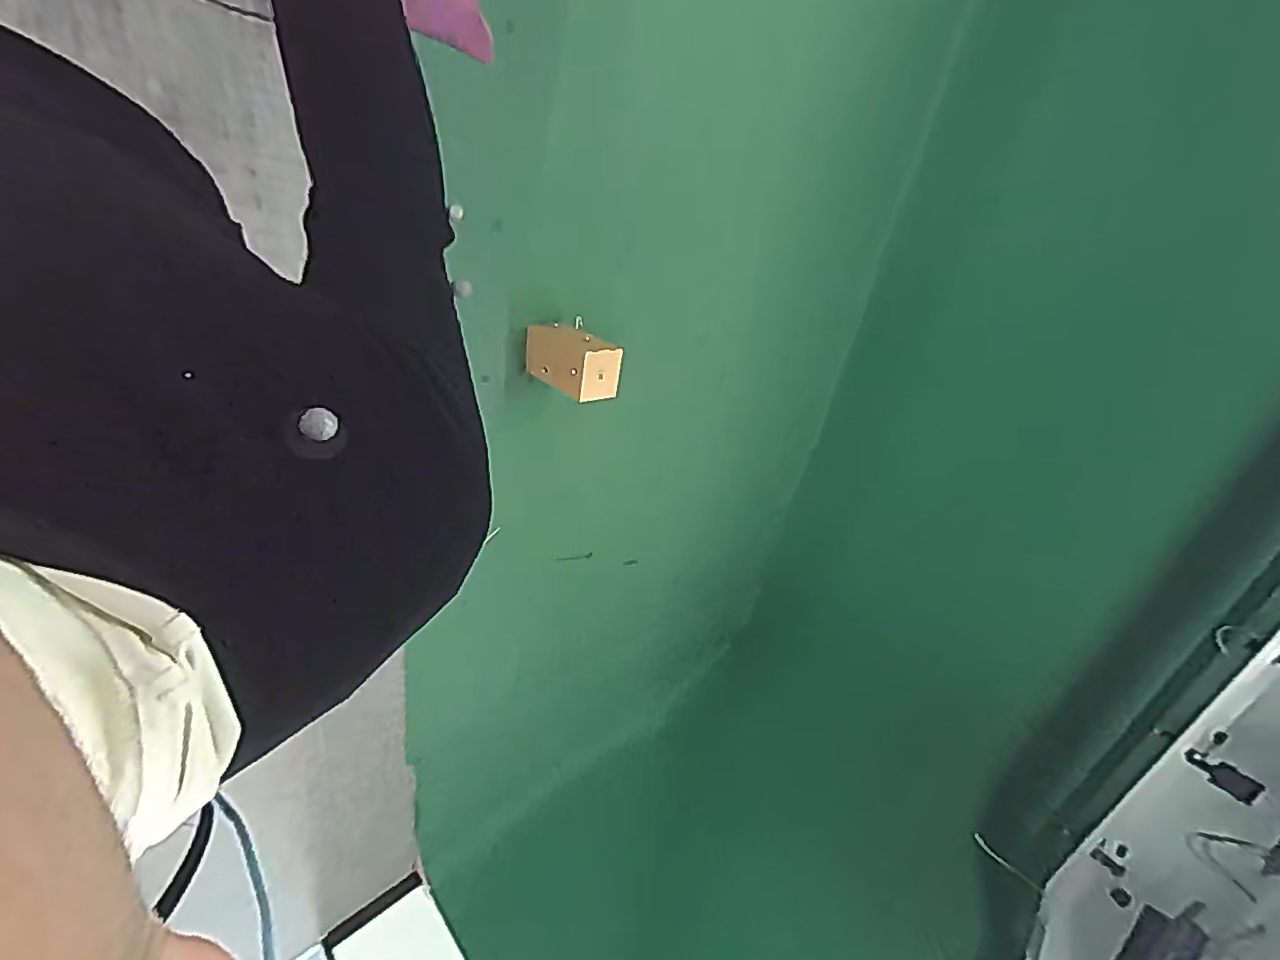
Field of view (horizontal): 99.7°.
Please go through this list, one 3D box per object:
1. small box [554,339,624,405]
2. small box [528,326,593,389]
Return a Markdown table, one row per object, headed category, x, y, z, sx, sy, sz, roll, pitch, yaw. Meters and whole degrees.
| category | x | y | z | sx | sy | sz | roll | pitch | yaw |
| --- | --- | --- | --- | --- | --- | --- | --- | --- | --- |
| small box | -0.183 | -0.379 | 1.871 | 0.168 | 0.176 | 0.179 | -17 | 127 | -42 |
| small box | -0.293 | -0.450 | 1.967 | 0.168 | 0.176 | 0.179 | -19 | 129 | -41 |
